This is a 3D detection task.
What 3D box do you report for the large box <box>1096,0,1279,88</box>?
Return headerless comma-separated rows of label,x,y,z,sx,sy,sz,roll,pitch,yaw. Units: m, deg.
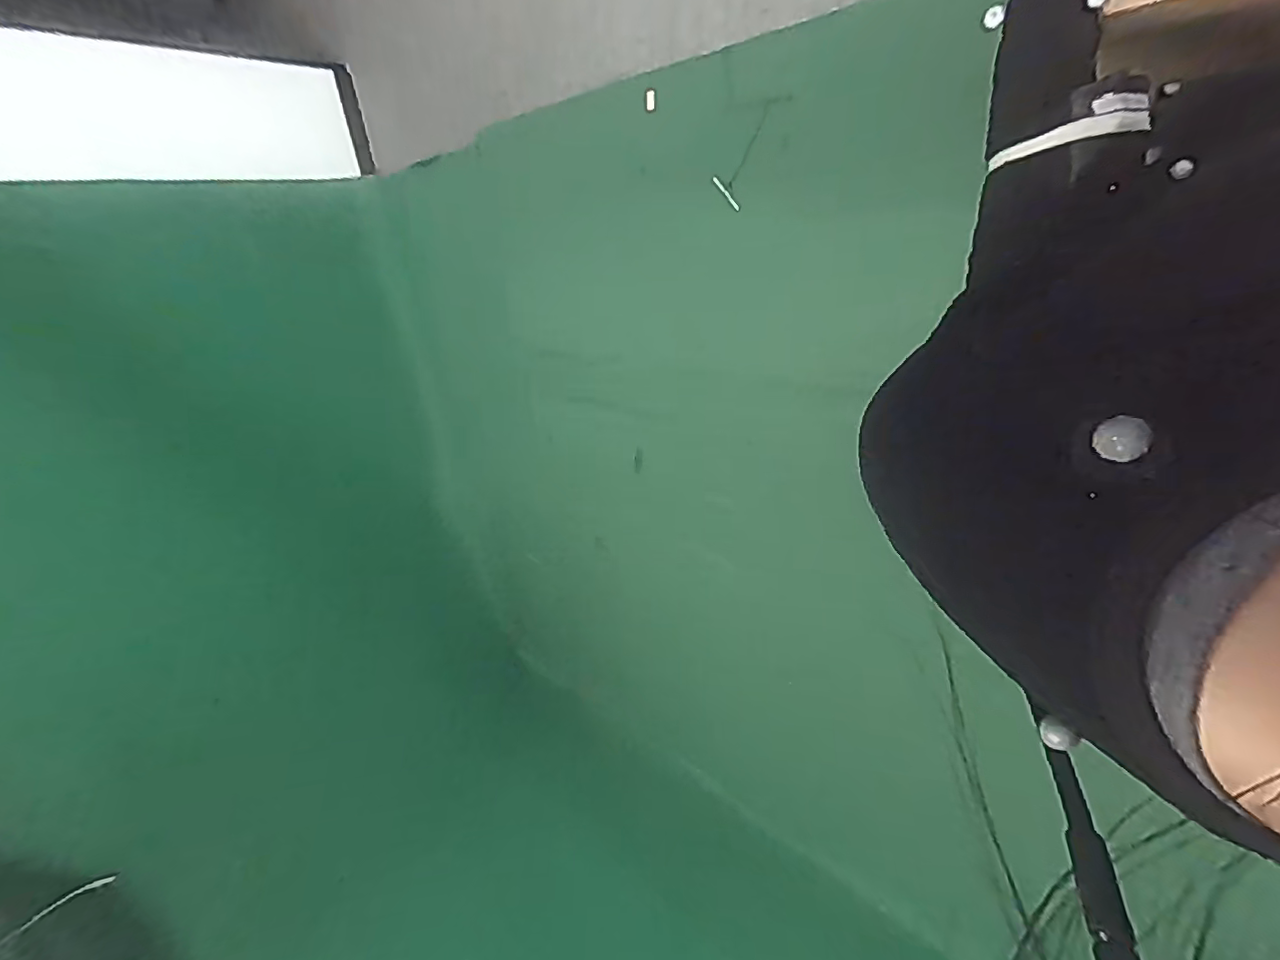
large box,0.548,-0.473,0.302,0.408,0.320,0.320,12,117,36
